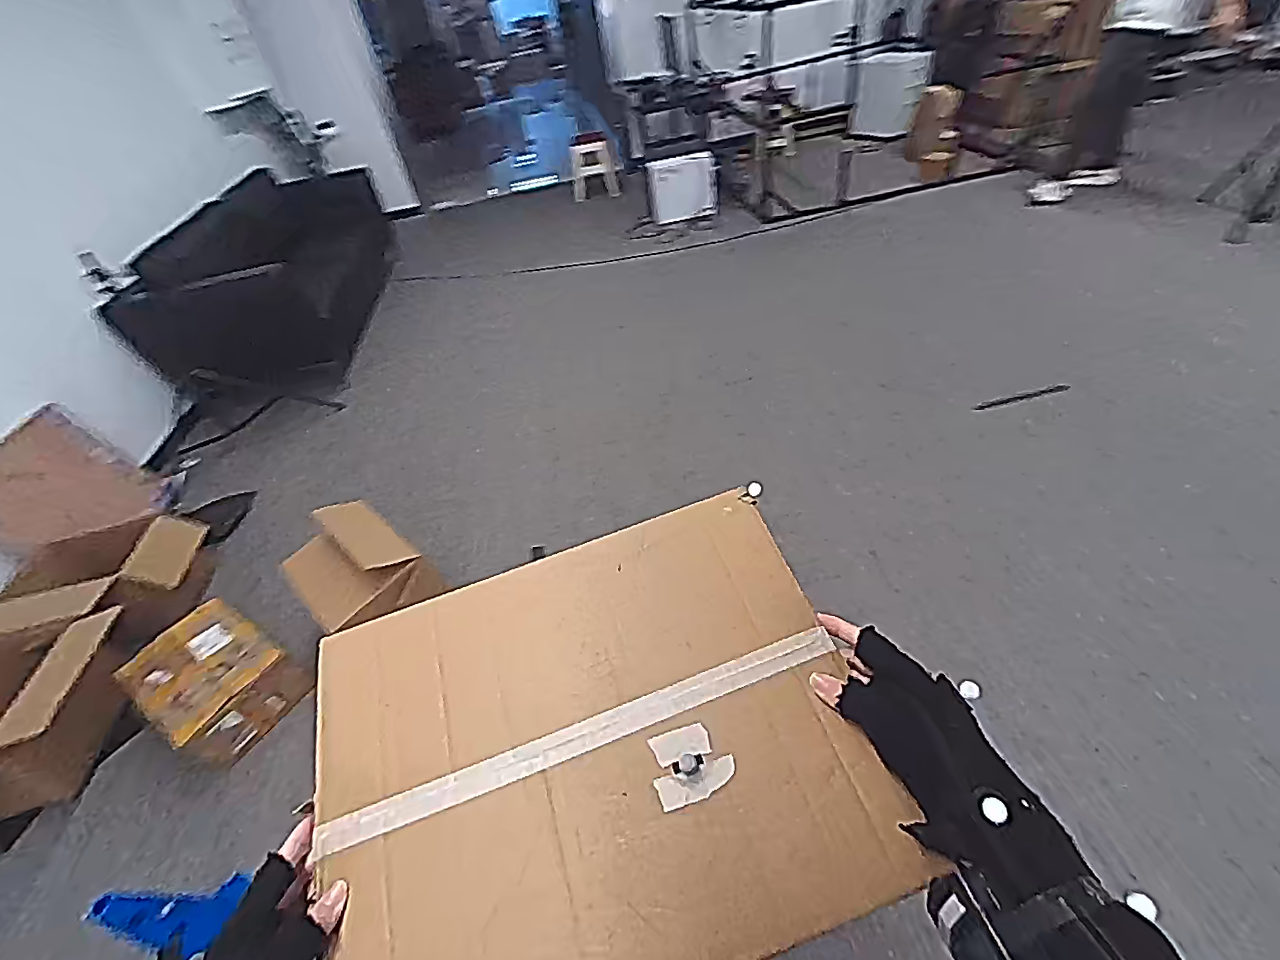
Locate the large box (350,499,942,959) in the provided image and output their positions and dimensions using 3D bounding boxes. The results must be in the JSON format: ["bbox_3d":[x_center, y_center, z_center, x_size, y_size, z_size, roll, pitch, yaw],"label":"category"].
[{"bbox_3d":[-0.013,0.283,0.543,0.408,0.320,0.320,-19,56,-4],"label":"large box"}]
